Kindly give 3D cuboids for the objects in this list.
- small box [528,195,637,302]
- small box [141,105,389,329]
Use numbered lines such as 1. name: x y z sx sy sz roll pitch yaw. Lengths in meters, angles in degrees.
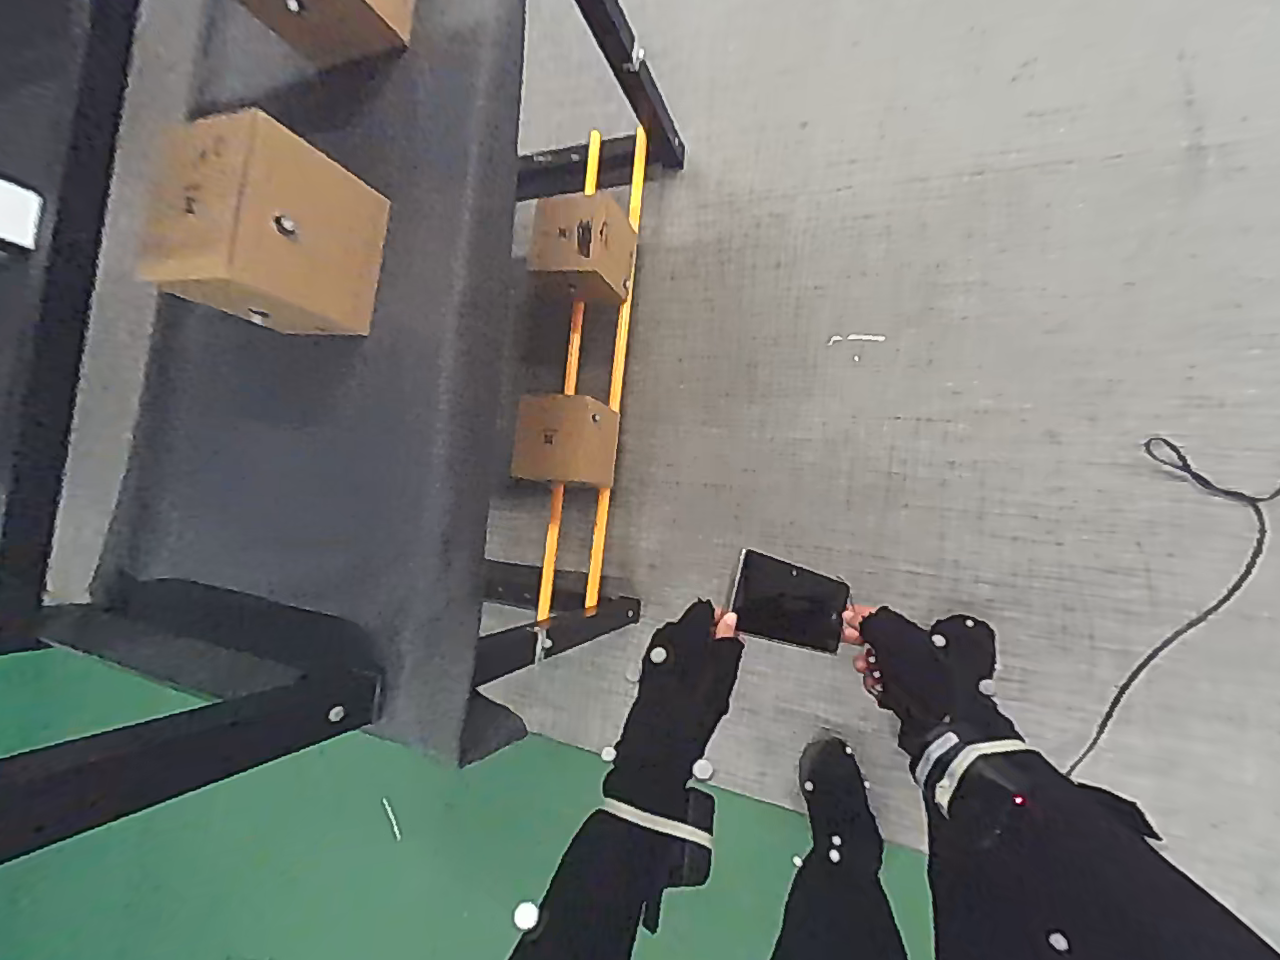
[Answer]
1. small box: -0.121 -0.509 1.208 0.179 0.176 0.168 8 88 22
2. small box: -0.425 -0.287 0.633 0.168 0.176 0.179 8 87 22
